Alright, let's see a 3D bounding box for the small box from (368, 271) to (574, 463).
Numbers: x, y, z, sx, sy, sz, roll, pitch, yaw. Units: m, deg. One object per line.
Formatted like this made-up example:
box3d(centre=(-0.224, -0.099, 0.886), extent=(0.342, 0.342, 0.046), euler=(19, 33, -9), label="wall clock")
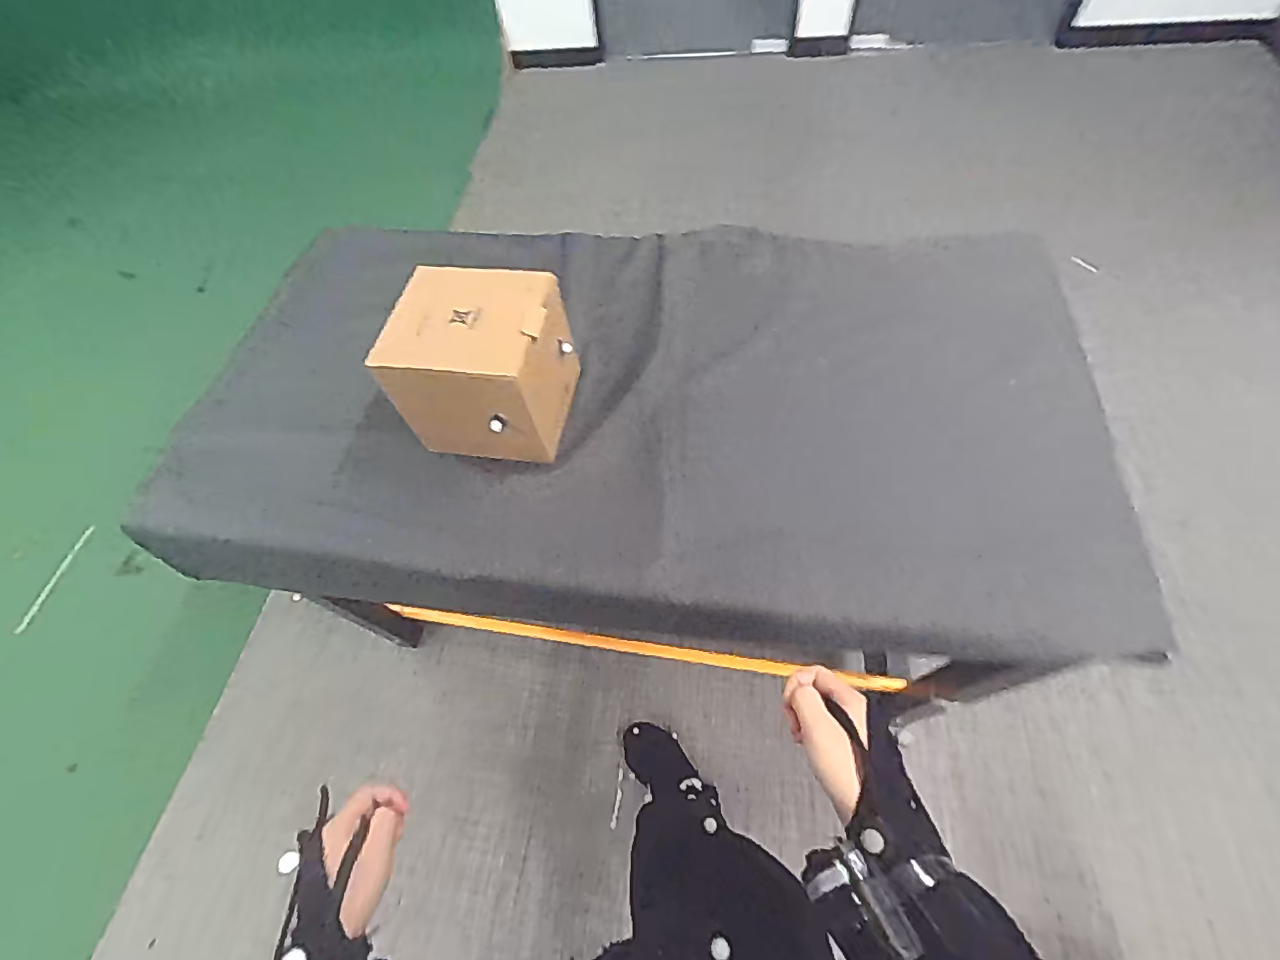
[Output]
box3d(centre=(-0.191, -0.136, 0.679), extent=(0.179, 0.176, 0.168), euler=(5, 58, 9), label="small box")
